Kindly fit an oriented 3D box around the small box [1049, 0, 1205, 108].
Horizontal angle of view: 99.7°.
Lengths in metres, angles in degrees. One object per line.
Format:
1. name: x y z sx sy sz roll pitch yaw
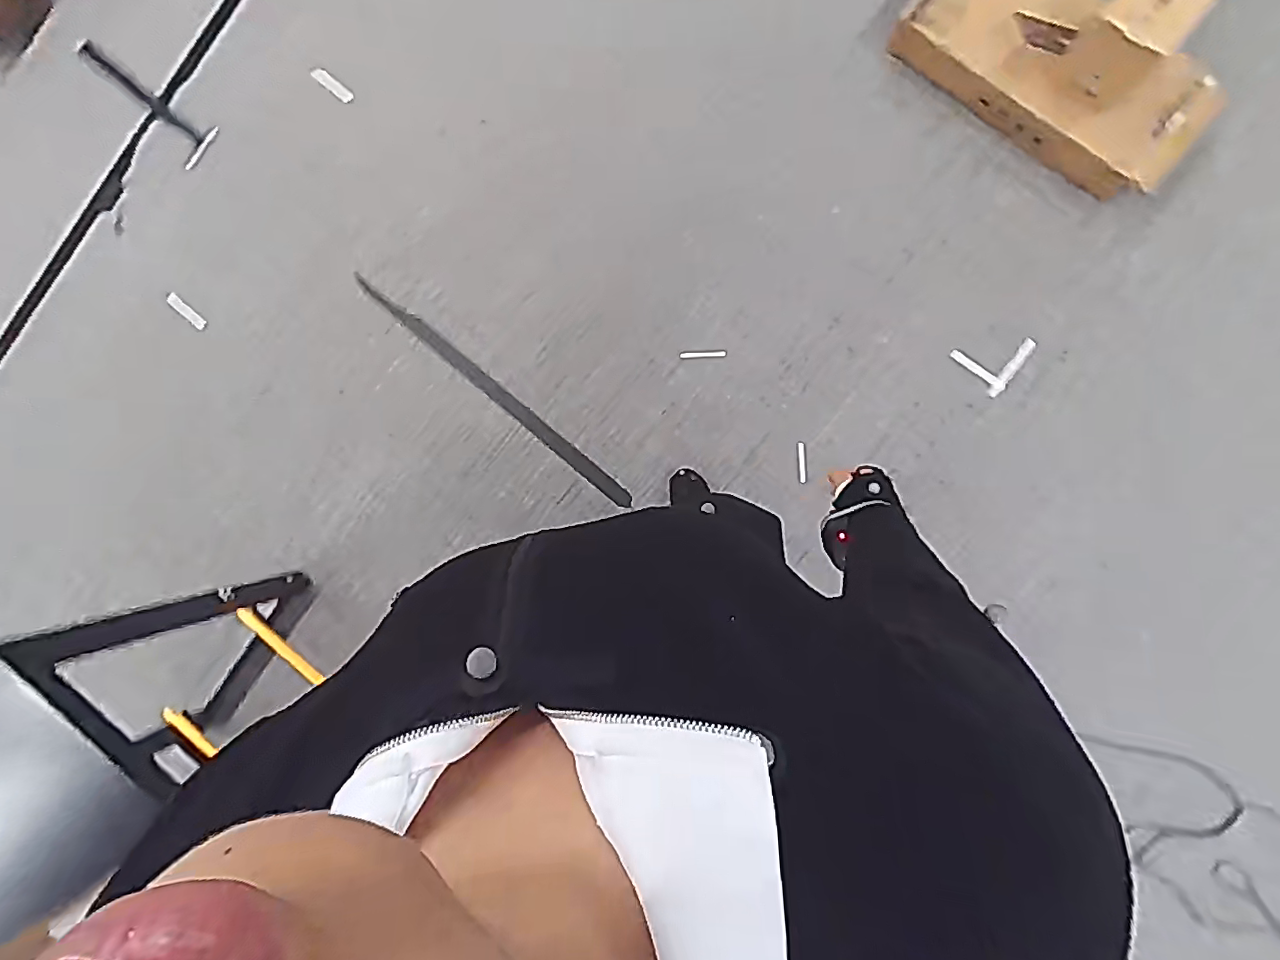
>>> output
1. small box: 1.077 -0.997 1.207 0.168 0.176 0.179 38 93 5
